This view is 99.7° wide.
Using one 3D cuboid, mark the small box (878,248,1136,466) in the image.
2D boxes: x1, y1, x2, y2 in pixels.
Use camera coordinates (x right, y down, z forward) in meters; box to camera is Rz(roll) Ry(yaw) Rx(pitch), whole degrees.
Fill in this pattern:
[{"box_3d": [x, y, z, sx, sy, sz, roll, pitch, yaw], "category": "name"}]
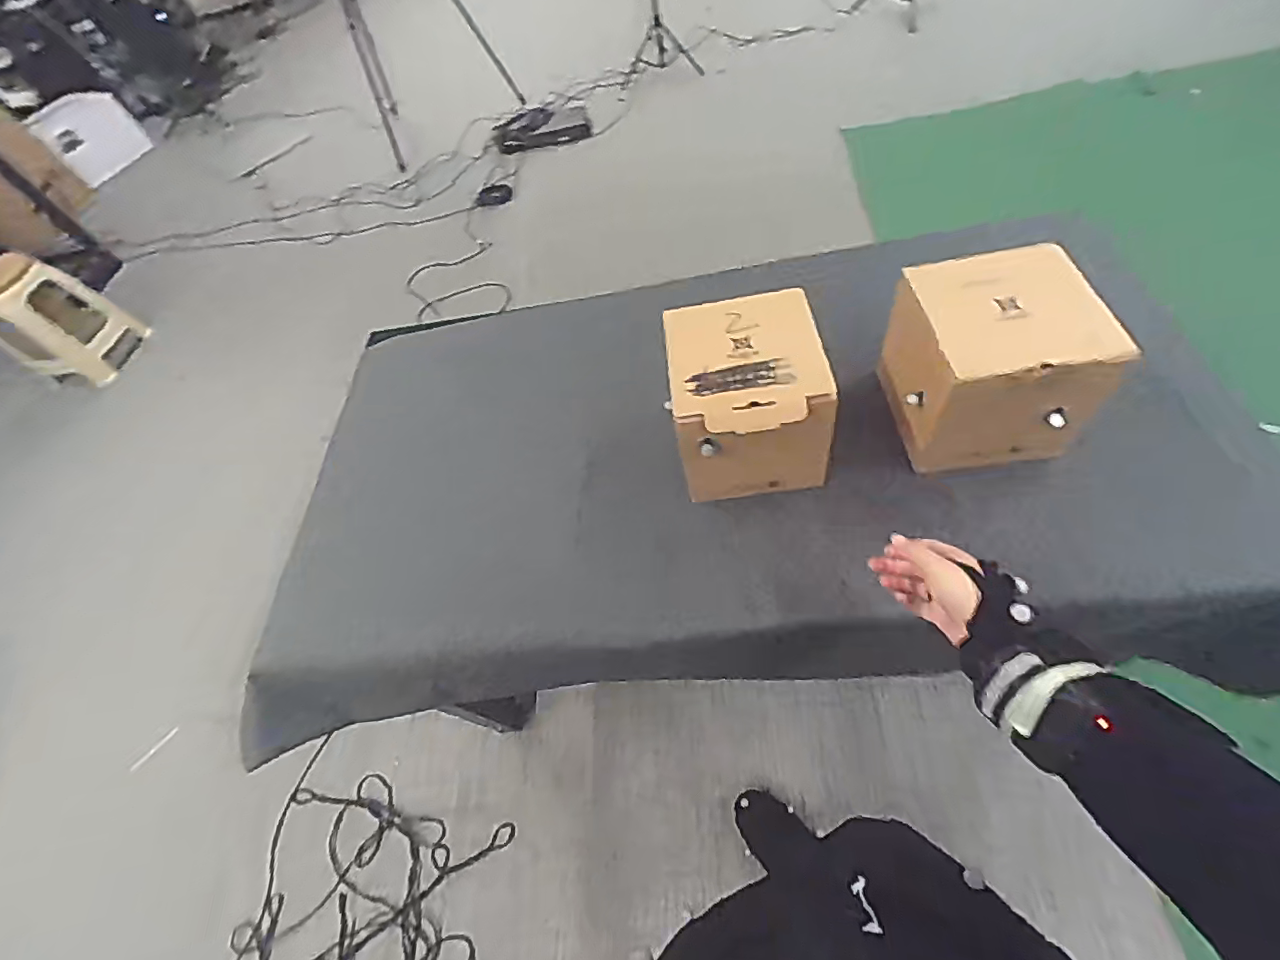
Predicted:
[{"box_3d": [0.392, -0.129, 0.621, 0.168, 0.176, 0.179, -8, 55, 7], "category": "small box"}]
